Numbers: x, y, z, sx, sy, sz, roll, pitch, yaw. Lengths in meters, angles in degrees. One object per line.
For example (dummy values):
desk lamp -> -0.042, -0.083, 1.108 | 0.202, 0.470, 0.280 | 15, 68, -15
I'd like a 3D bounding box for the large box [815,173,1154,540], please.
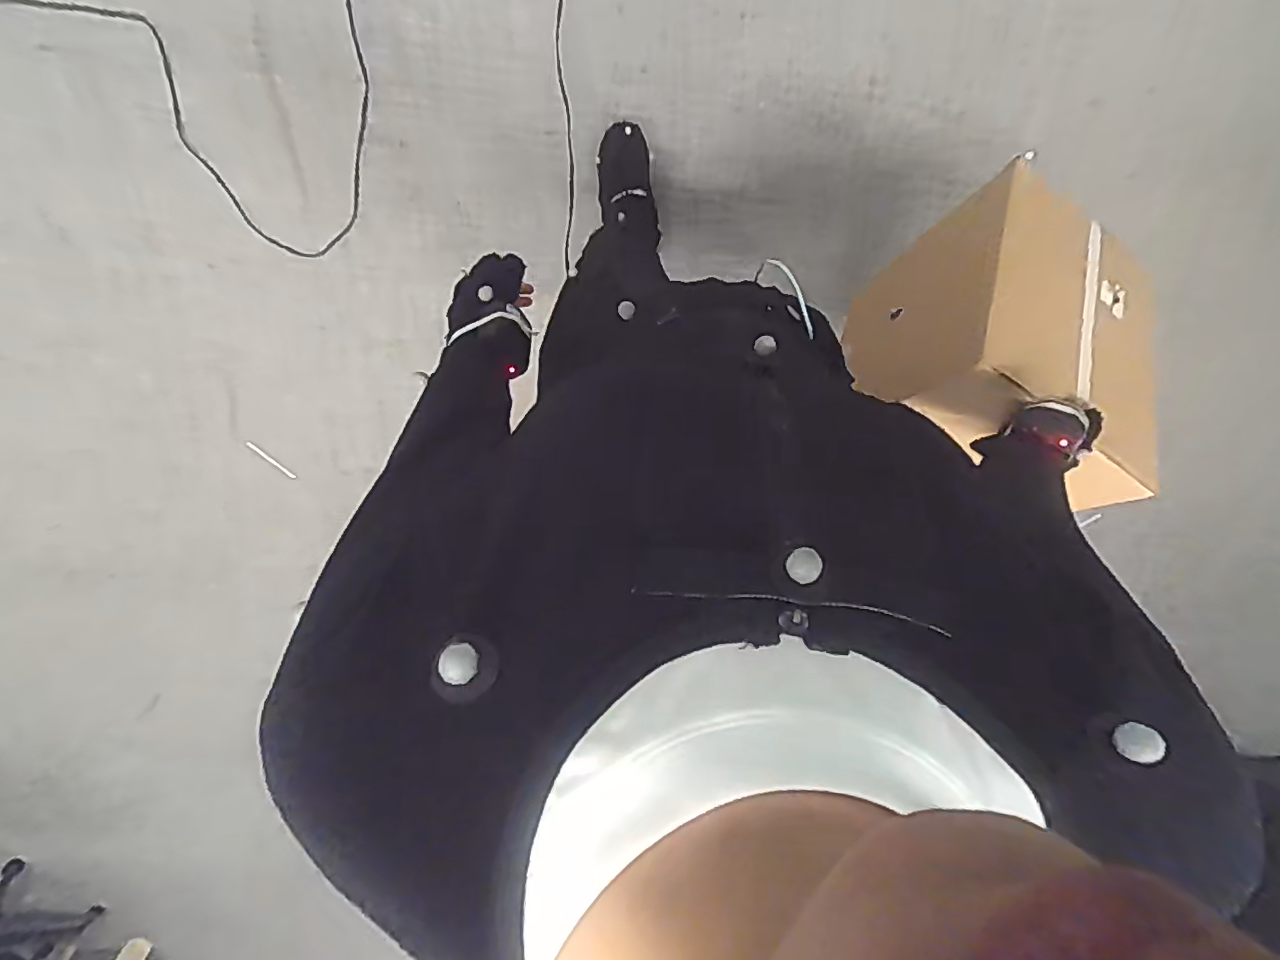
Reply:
large box -> 0.535, -0.168, 0.864 | 0.320, 0.408, 0.320 | 31, 154, -12
